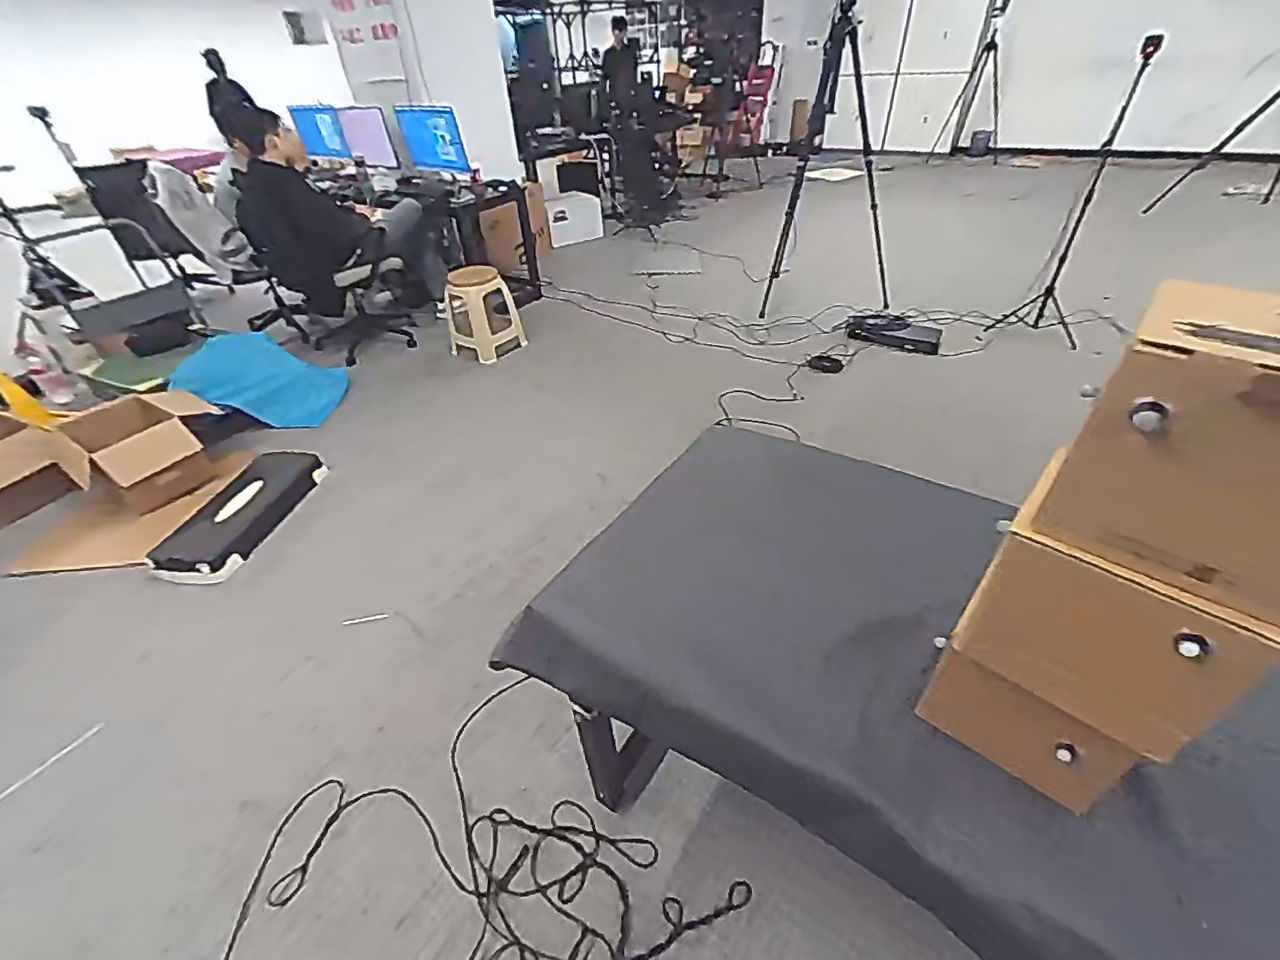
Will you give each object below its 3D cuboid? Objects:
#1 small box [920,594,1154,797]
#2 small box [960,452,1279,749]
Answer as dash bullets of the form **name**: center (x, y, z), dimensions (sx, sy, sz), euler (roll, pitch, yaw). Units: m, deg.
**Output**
- **small box**: center (0.454, 0.222, 0.616), dimensions (0.179, 0.176, 0.168), euler (27, 46, 34)
- **small box**: center (0.435, 0.105, 0.503), dimensions (0.179, 0.176, 0.168), euler (30, 48, 34)
